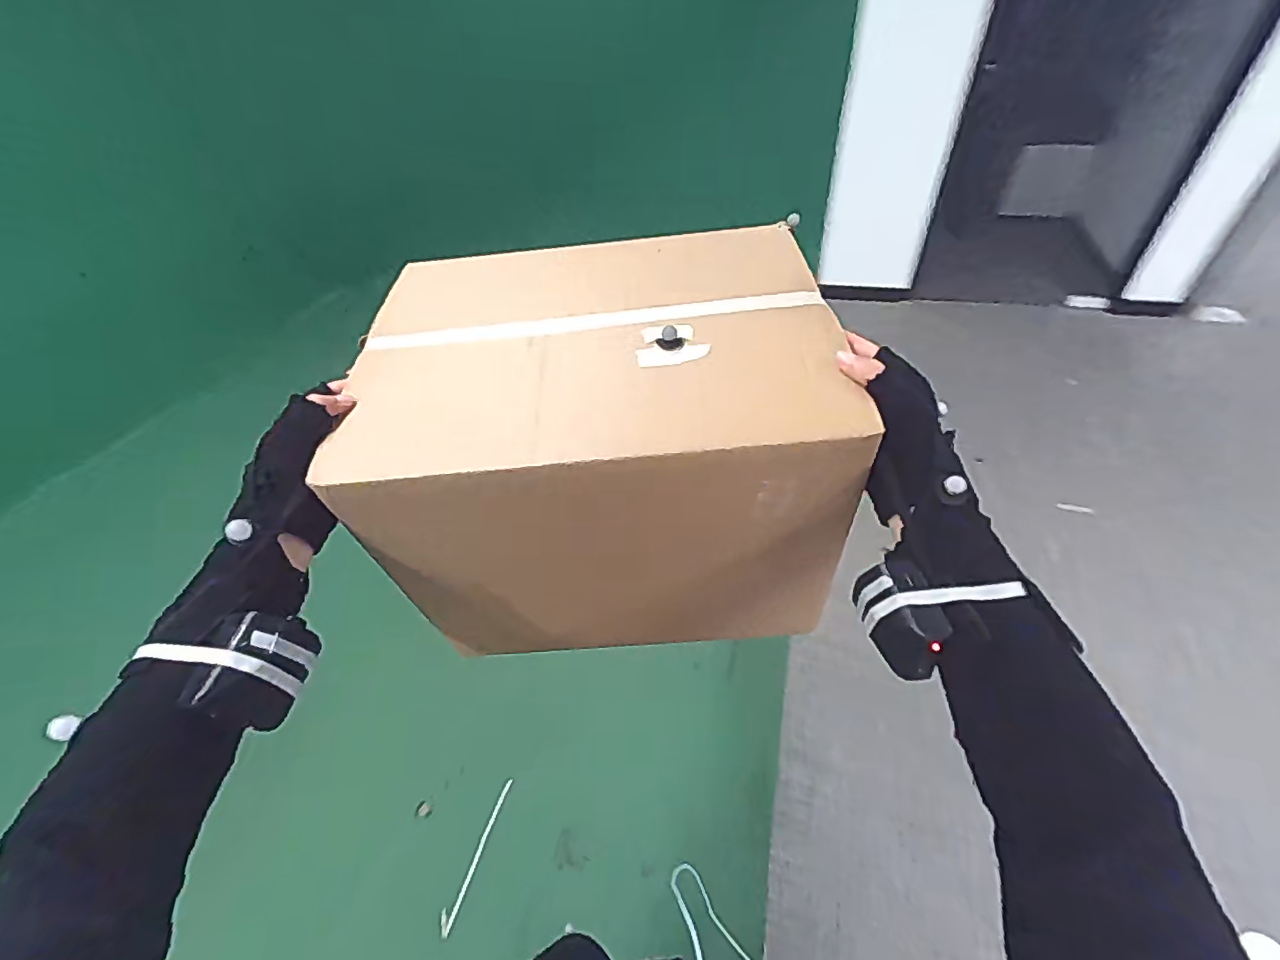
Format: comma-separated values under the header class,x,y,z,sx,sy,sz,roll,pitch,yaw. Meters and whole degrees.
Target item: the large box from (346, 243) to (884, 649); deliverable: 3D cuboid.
class,x,y,z,sx,sy,sz,roll,pitch,yaw
large box,-0.016,-0.029,0.599,0.408,0.320,0.320,-4,50,3
